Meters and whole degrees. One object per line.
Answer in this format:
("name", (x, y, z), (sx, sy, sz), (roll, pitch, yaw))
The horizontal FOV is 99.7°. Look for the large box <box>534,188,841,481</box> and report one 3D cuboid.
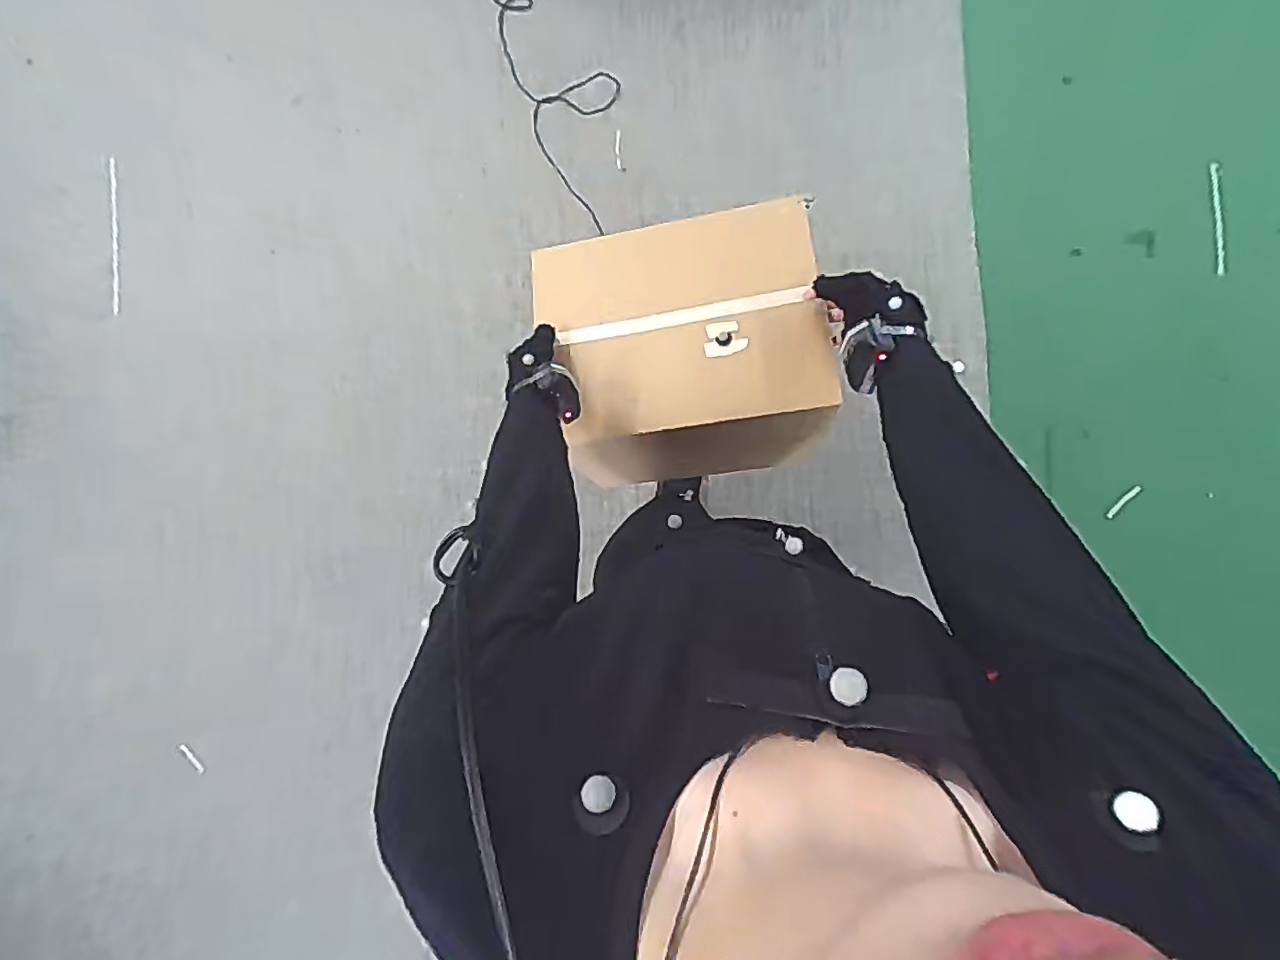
("large box", (0.073, -0.203, 0.896), (0.408, 0.320, 0.320), (-8, 77, 9))
